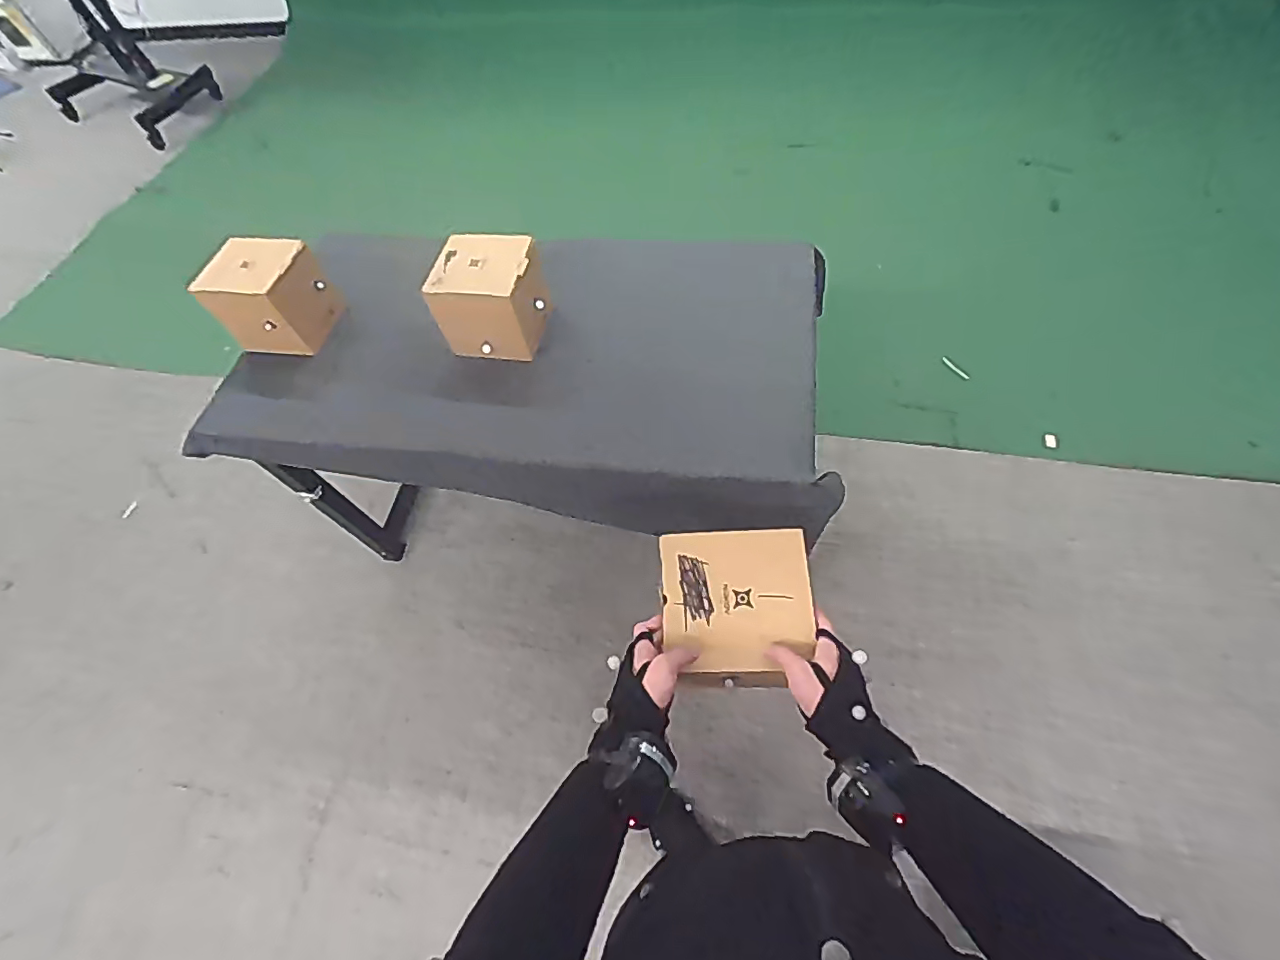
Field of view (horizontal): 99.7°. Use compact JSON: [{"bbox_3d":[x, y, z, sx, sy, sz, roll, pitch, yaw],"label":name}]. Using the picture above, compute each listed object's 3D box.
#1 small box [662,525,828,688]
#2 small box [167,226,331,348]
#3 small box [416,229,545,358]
[{"bbox_3d":[0.120,0.166,0.681,0.179,0.176,0.168,-2,63,4],"label":"small box"},{"bbox_3d":[-0.775,-0.387,1.098,0.179,0.176,0.168,5,57,7],"label":"small box"},{"bbox_3d":[-0.296,-0.358,1.053,0.179,0.176,0.168,8,59,7],"label":"small box"}]
